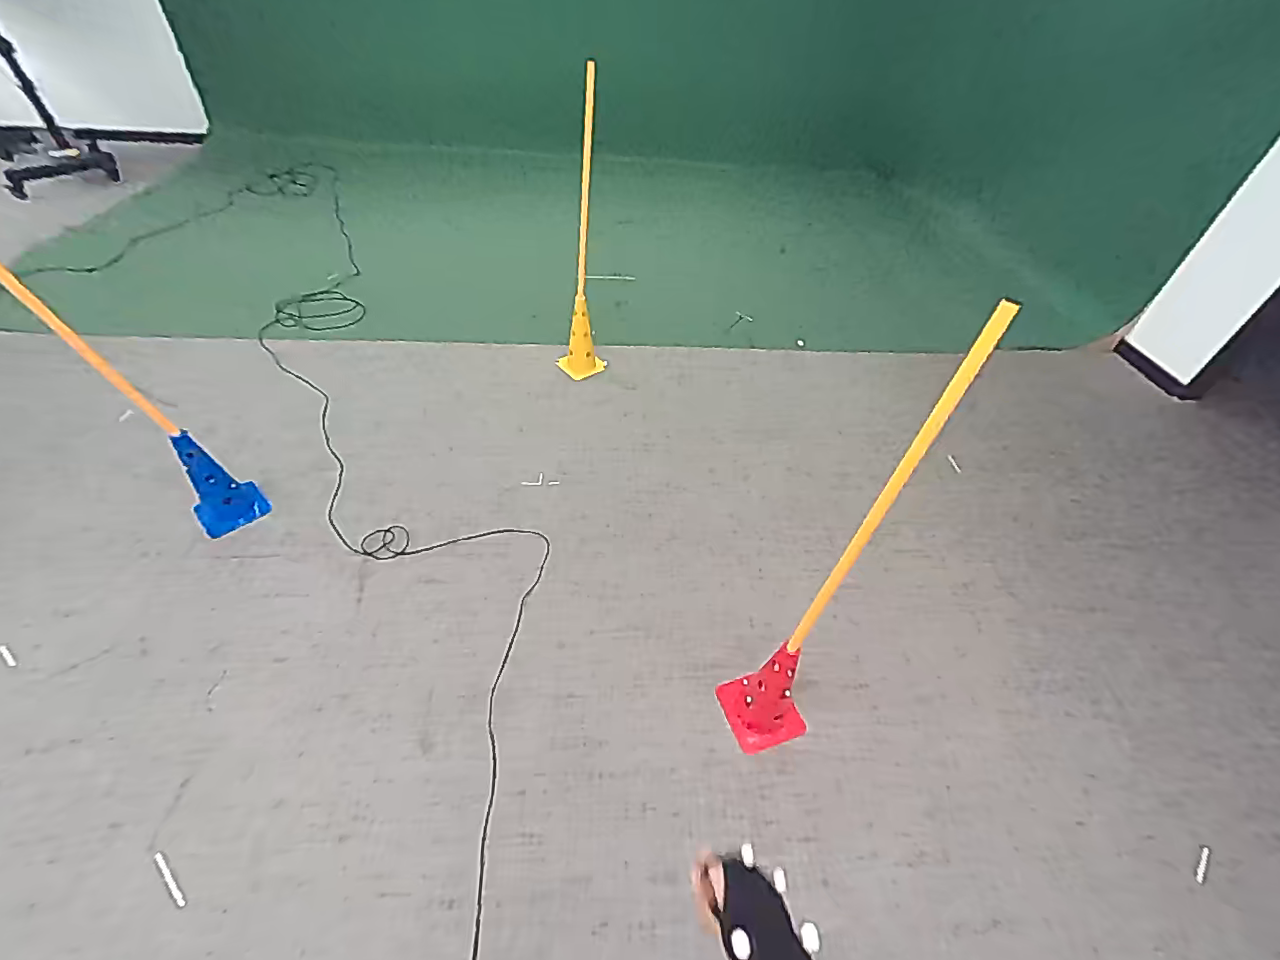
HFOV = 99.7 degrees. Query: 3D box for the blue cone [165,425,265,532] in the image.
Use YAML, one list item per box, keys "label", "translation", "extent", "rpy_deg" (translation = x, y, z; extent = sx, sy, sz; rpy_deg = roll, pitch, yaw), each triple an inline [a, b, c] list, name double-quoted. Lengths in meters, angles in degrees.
- label: "blue cone"
  translation: [-1.420, -0.023, 1.763]
  extent: [0.192, 0.380, 0.193]
  rpy_deg: [36, 54, 26]
